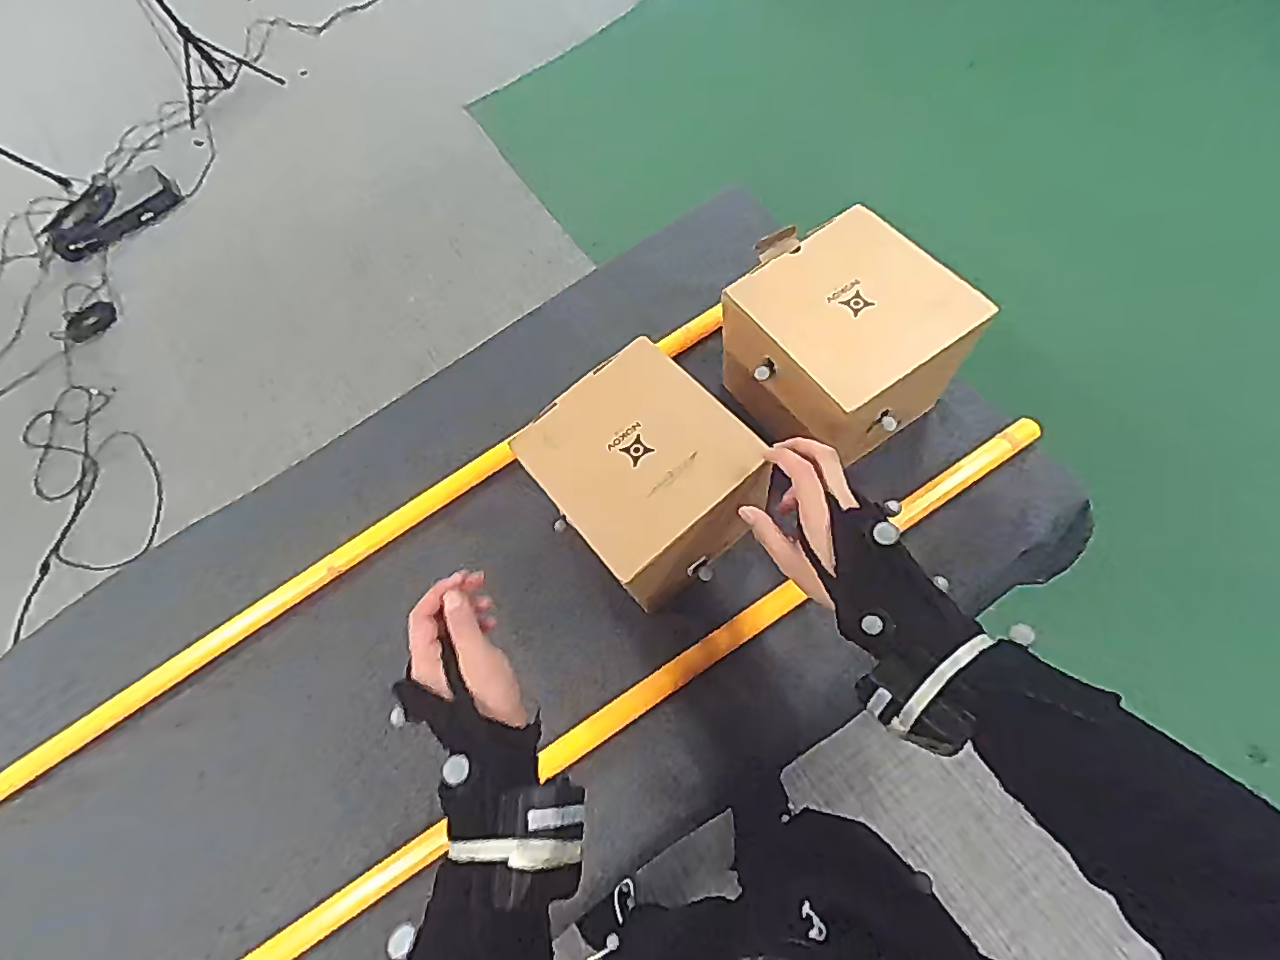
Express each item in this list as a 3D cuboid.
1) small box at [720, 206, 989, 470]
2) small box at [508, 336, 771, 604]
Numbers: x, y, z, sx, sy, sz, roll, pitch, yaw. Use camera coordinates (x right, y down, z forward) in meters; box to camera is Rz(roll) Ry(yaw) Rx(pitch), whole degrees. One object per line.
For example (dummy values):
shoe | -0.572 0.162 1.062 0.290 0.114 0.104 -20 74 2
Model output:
small box | 0.202 -0.131 0.561 0.168 0.176 0.179 -34 65 -5
small box | 0.006 0.001 0.539 0.168 0.176 0.179 -41 67 -7
